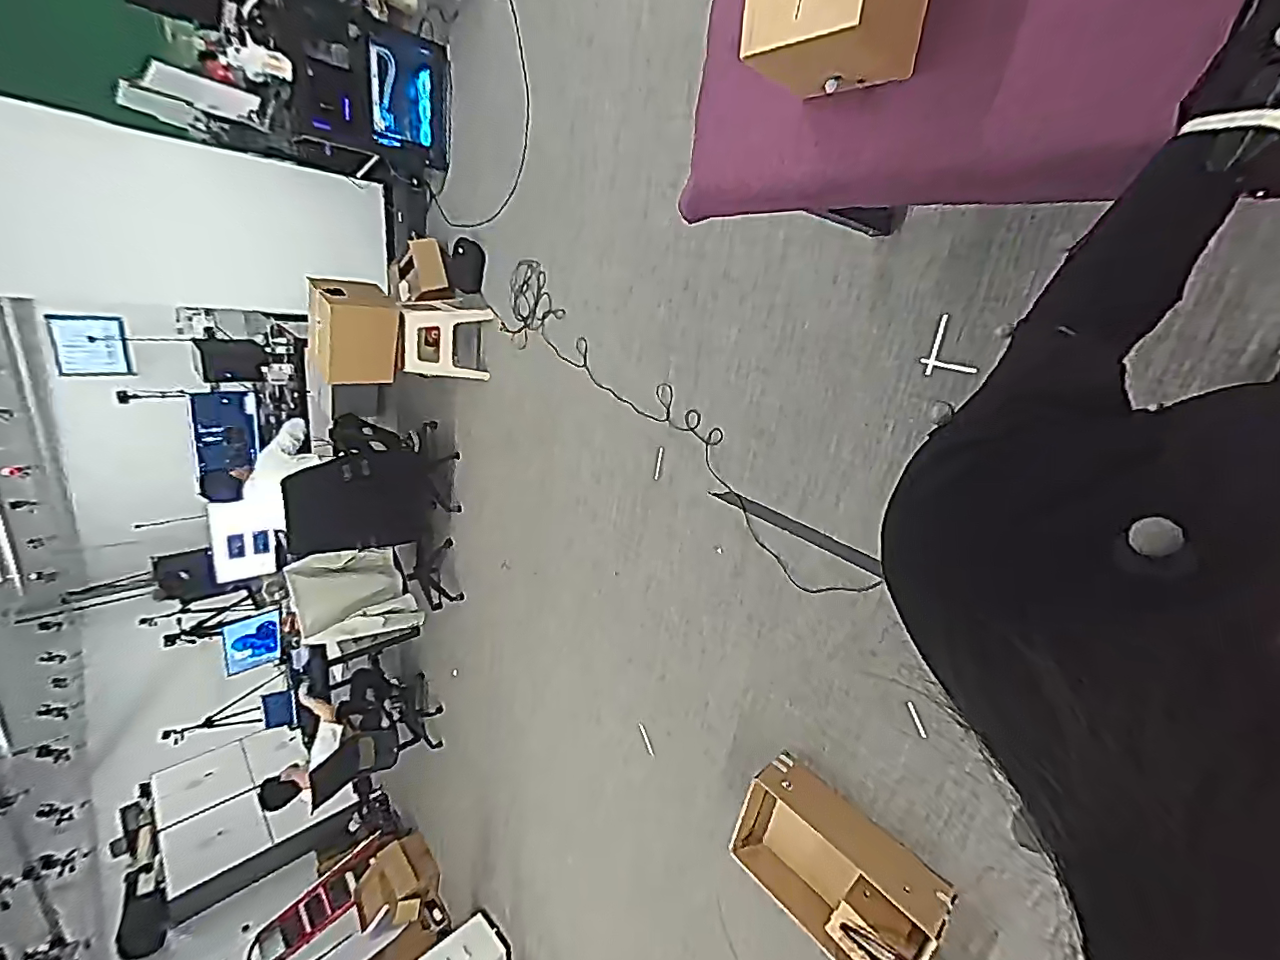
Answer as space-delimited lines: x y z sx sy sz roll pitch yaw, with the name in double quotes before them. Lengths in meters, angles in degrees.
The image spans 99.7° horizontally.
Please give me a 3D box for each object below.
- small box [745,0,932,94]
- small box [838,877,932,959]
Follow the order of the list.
"small box" 0.257 -0.624 0.677 0.168 0.176 0.179 22 115 42
"small box" 0.741 1.354 1.634 0.179 0.176 0.168 32 121 38
